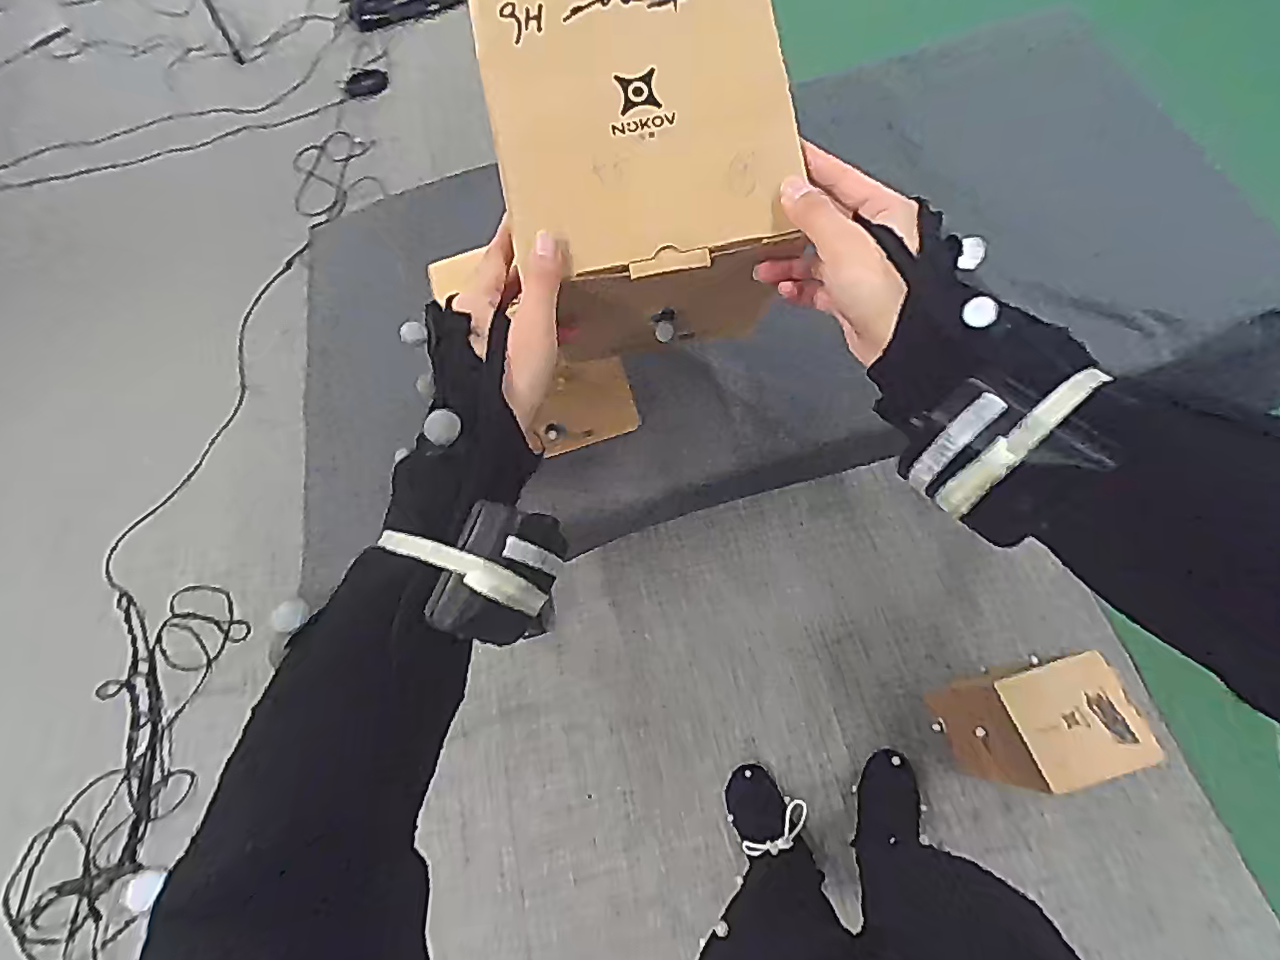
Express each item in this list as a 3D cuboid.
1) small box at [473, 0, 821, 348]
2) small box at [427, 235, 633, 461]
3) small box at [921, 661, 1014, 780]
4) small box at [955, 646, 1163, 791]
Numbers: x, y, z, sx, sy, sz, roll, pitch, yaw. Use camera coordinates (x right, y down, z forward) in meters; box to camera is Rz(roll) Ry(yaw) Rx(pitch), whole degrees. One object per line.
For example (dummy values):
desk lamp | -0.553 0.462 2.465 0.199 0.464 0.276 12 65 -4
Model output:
small box | 0.006 -0.199 0.369 0.168 0.176 0.179 -11 89 1
small box | -0.115 -0.148 0.608 0.168 0.176 0.179 -18 67 0
small box | 0.683 0.454 1.038 0.179 0.176 0.168 -19 65 0
small box | 0.667 0.386 0.889 0.179 0.176 0.168 -19 65 1
